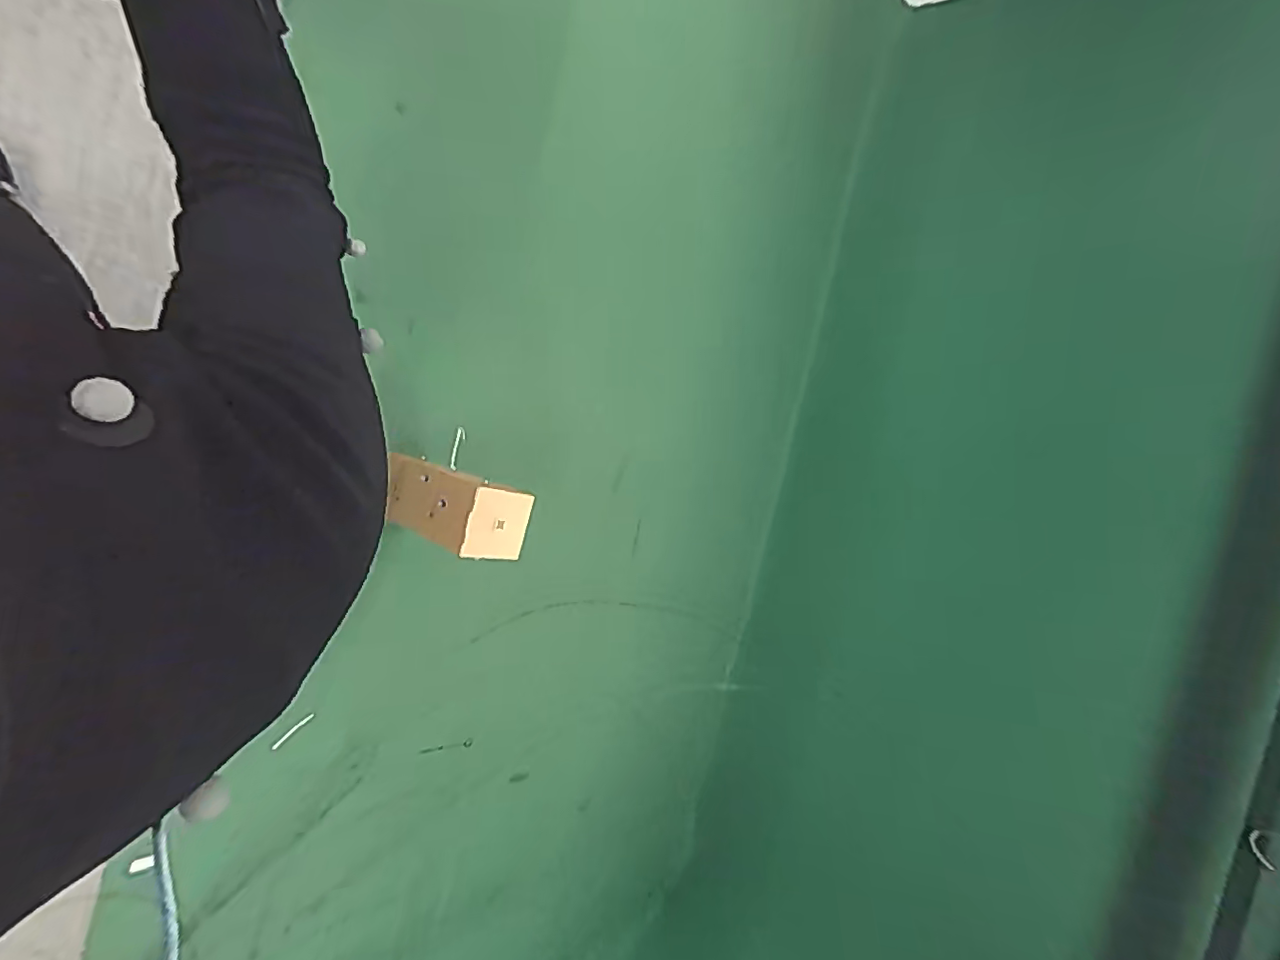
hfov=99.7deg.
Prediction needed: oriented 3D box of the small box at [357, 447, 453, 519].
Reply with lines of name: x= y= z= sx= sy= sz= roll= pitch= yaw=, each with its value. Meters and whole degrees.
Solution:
small box: x=-0.665 y=0.009 z=1.520 sx=0.179 sy=0.176 sz=0.168 roll=12 pitch=92 yaw=-52

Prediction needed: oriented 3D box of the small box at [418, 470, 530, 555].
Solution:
small box: x=-0.408 y=0.079 z=1.329 sx=0.179 sy=0.176 sz=0.168 roll=14 pitch=91 yaw=-54
